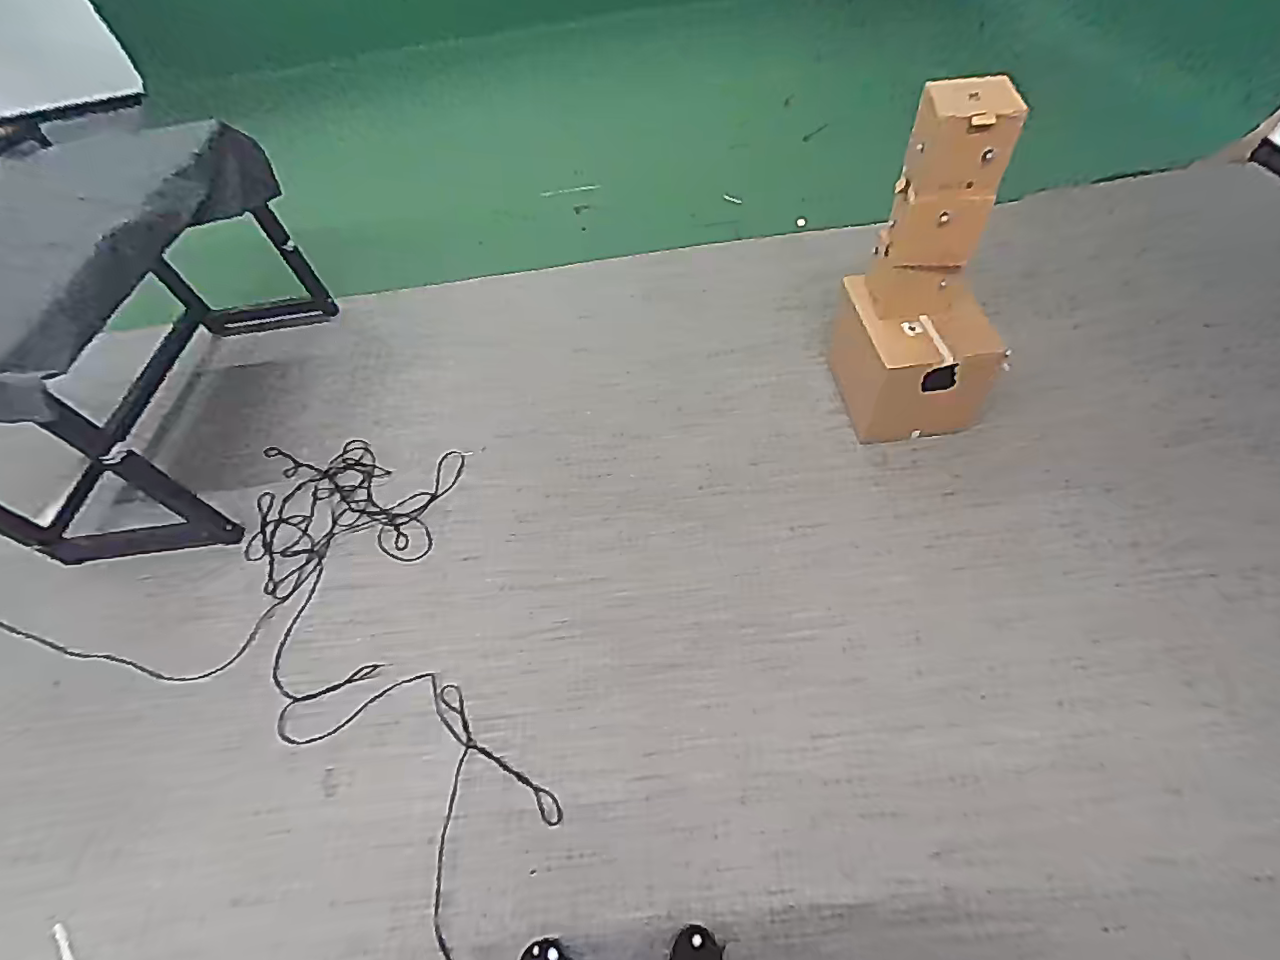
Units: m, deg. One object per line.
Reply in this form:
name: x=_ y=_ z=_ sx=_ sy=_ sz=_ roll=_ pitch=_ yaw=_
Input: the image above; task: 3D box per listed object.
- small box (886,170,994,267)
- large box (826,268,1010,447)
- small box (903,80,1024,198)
small box: x=0.712 y=-0.632 z=1.305 sx=0.179 sy=0.176 sz=0.168 roll=4 pitch=56 yaw=11
large box: x=0.782 y=-0.360 z=1.603 sx=0.320 sy=0.320 sz=0.408 roll=-8 pitch=55 yaw=3
small box: x=0.693 y=-0.737 z=1.182 sx=0.168 sy=0.176 sz=0.179 roll=2 pitch=55 yaw=8
